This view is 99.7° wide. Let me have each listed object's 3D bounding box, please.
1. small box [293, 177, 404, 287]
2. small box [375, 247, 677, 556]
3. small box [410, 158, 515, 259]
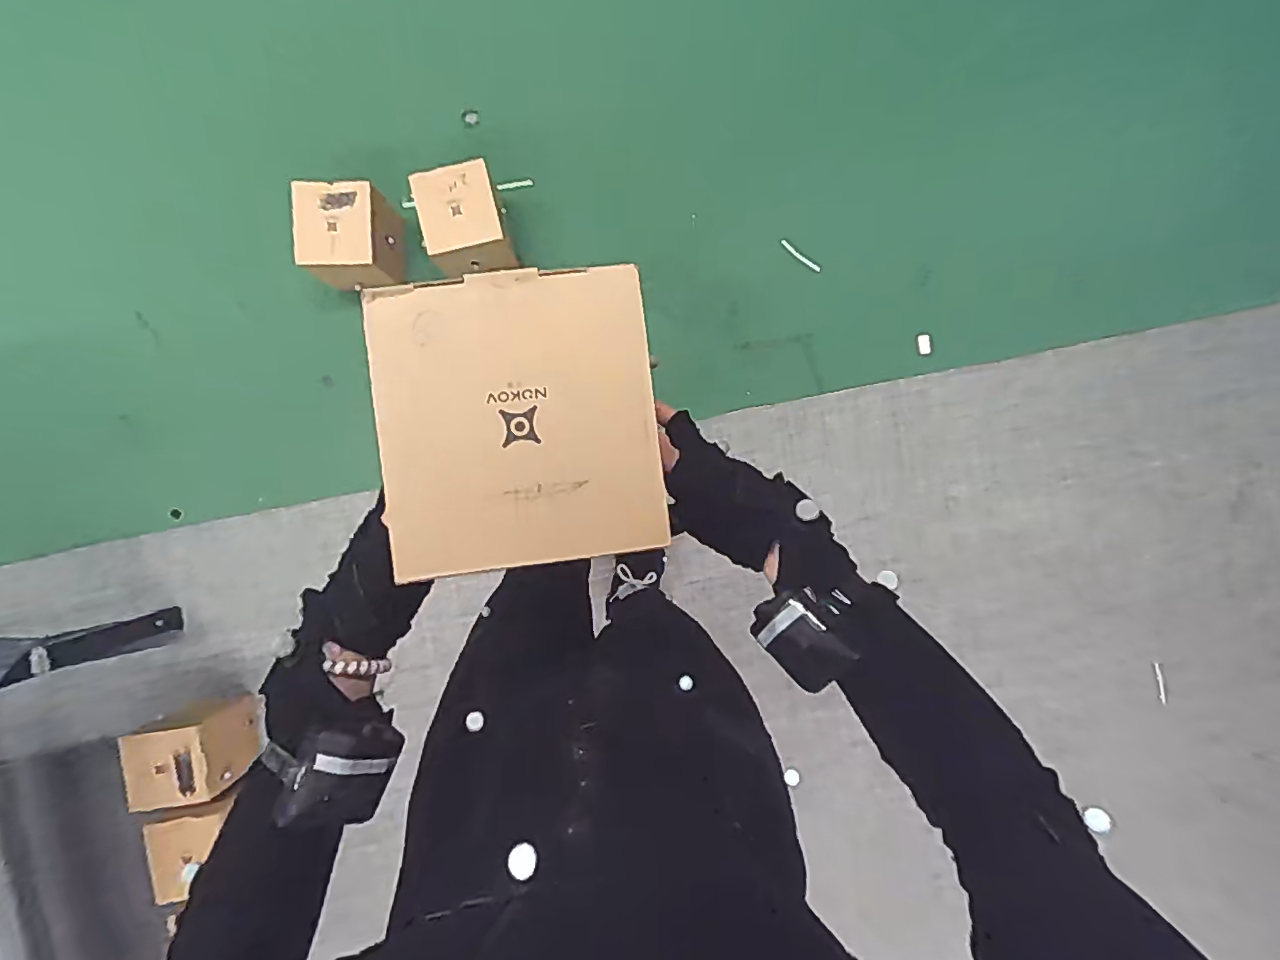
[{"bbox_3d":[-0.646,-0.549,1.212,0.168,0.176,0.179,0,92,-1],"label":"small box"},{"bbox_3d":[-0.073,-0.046,0.398,0.168,0.176,0.179,-6,89,-5],"label":"small box"},{"bbox_3d":[-0.389,-0.580,1.219,0.168,0.176,0.179,-13,91,-2],"label":"small box"}]
